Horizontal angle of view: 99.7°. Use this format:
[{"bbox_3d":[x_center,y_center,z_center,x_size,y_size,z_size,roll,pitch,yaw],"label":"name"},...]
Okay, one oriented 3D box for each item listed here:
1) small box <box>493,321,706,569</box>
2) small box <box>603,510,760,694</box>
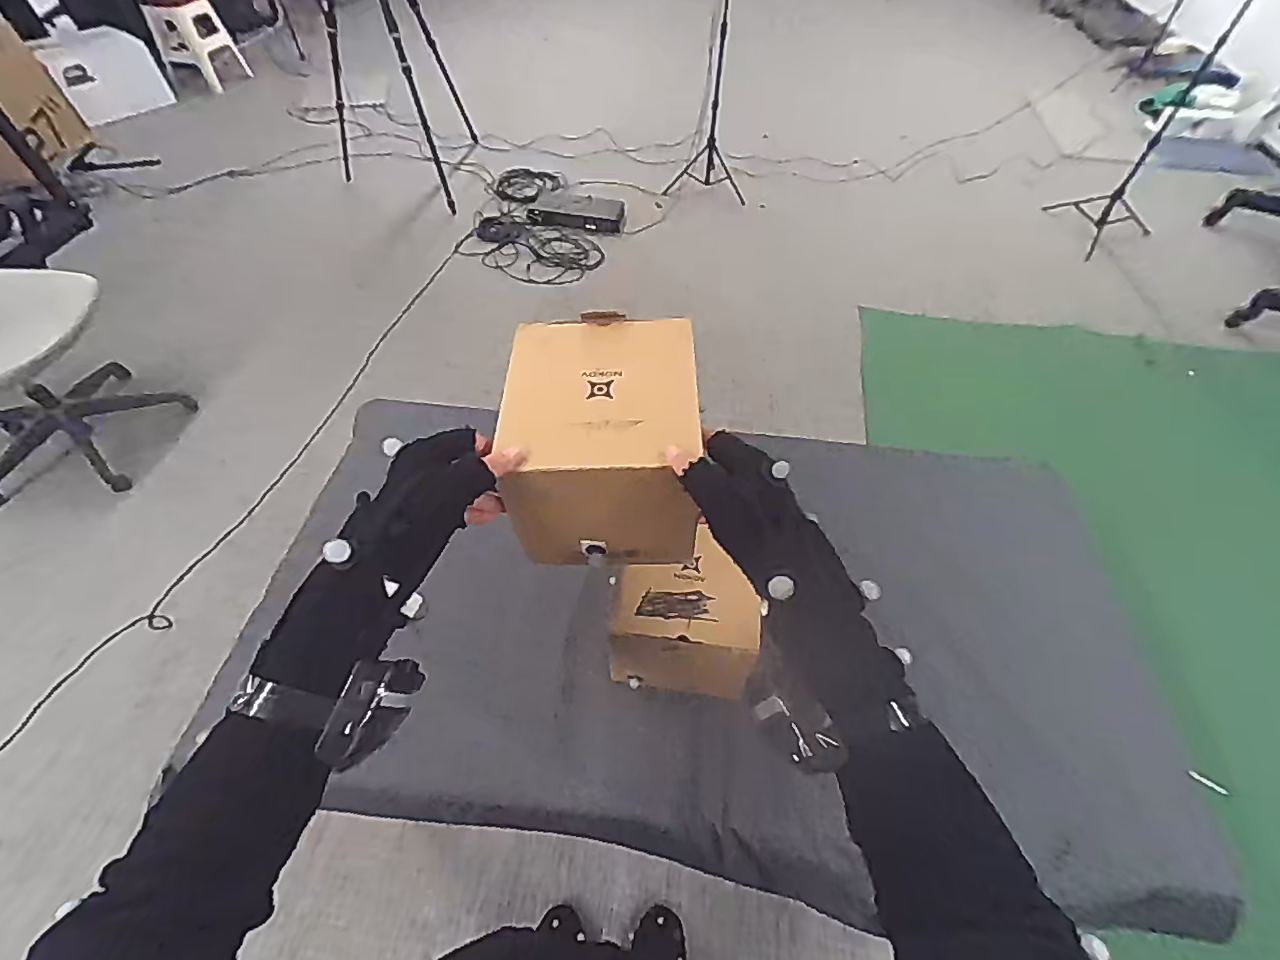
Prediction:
[{"bbox_3d":[-0.027,-0.031,0.521,0.168,0.176,0.179,0,55,2],"label":"small box"},{"bbox_3d":[0.054,0.153,0.685,0.168,0.176,0.179,7,52,5],"label":"small box"}]
